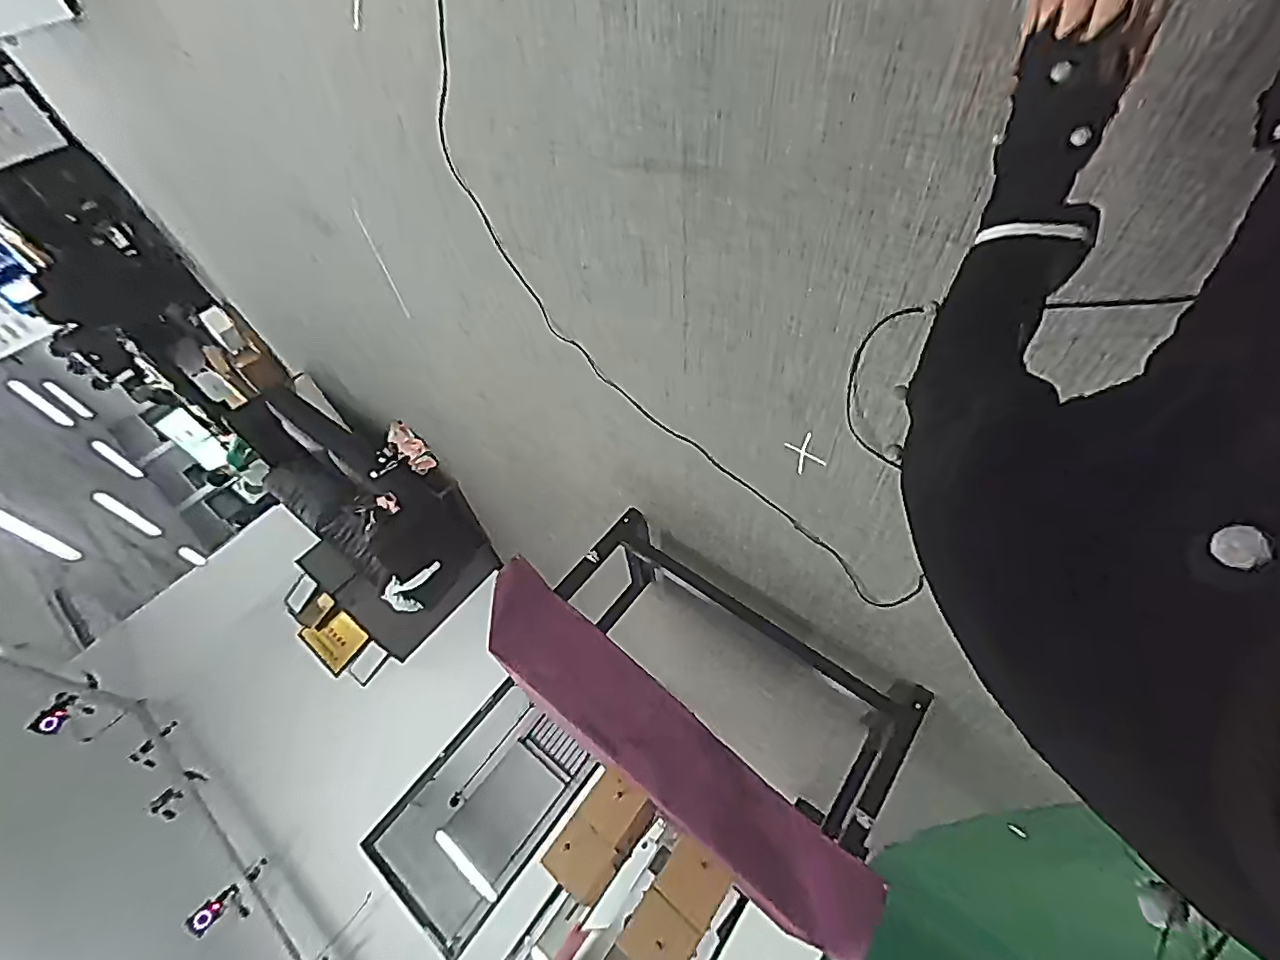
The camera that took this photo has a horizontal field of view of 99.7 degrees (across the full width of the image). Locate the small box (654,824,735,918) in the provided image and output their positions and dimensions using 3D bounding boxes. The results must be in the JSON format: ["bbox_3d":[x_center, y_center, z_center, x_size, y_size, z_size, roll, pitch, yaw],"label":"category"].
[{"bbox_3d":[0.166,1.168,1.627,0.179,0.176,0.168,30,152,27],"label":"small box"}]

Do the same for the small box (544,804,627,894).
[{"bbox_3d":[-0.165,1.143,1.689,0.179,0.176,0.168,27,152,30],"label":"small box"}]

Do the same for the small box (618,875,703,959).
[{"bbox_3d":[0.063,1.276,1.558,0.179,0.176,0.168,29,151,26],"label":"small box"}]

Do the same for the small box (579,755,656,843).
[{"bbox_3d":[-0.066,1.035,1.762,0.168,0.176,0.179,26,150,31],"label":"small box"}]
